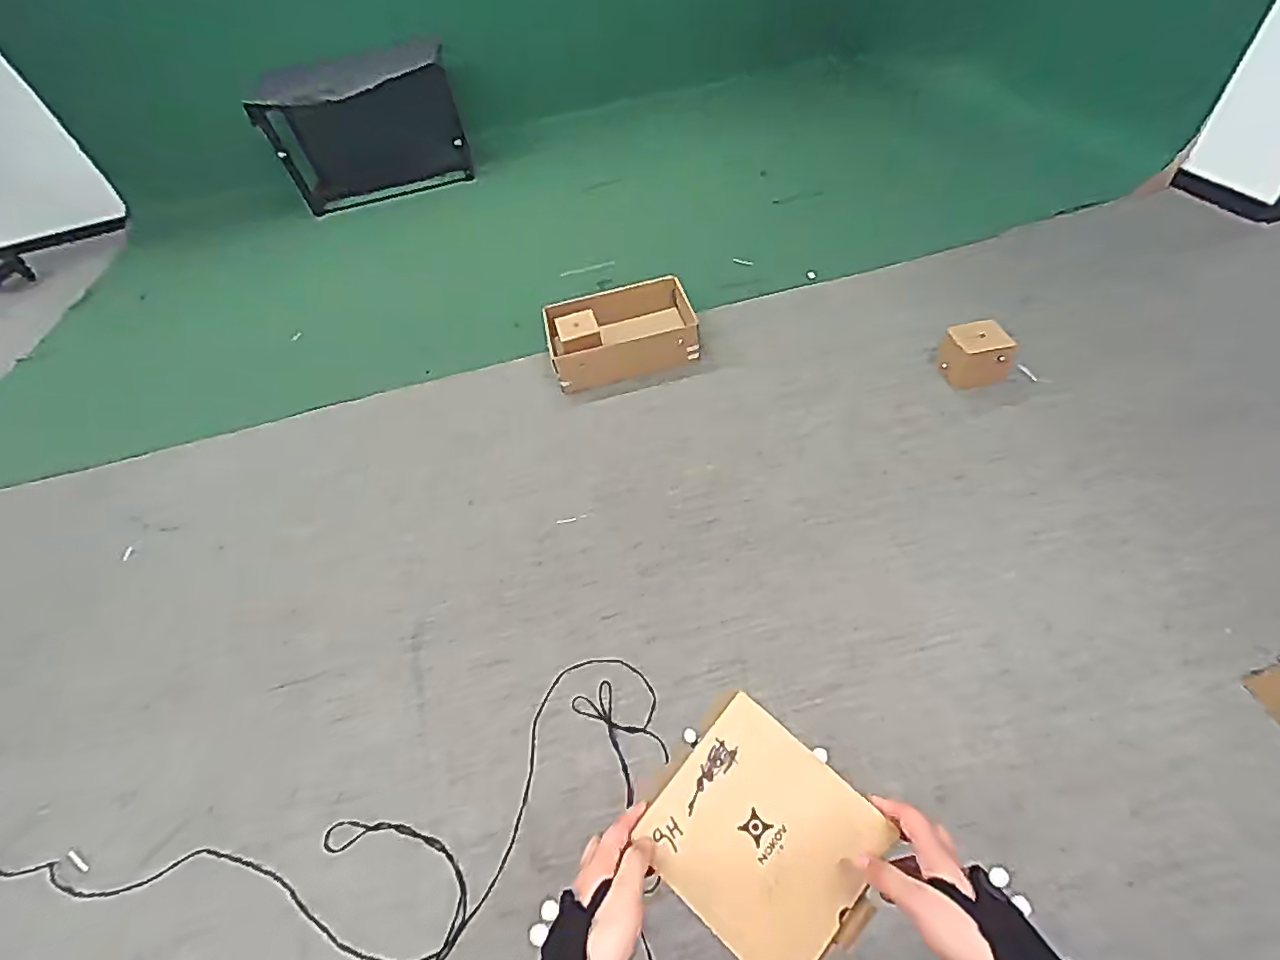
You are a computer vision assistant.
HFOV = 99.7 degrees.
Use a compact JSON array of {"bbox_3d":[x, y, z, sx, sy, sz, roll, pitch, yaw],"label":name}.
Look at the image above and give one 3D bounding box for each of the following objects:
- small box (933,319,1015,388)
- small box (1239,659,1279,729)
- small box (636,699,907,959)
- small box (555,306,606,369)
[{"bbox_3d":[1.217,-0.461,1.985,0.179,0.176,0.168,-10,50,2],"label":"small box"},{"bbox_3d":[1.505,0.475,1.175,0.168,0.176,0.179,-14,49,-1],"label":"small box"},{"bbox_3d":[0.118,0.341,0.544,0.179,0.176,0.168,40,77,16],"label":"small box"},{"bbox_3d":[-0.252,-0.602,2.292,0.168,0.176,0.179,-16,51,-3],"label":"small box"}]
